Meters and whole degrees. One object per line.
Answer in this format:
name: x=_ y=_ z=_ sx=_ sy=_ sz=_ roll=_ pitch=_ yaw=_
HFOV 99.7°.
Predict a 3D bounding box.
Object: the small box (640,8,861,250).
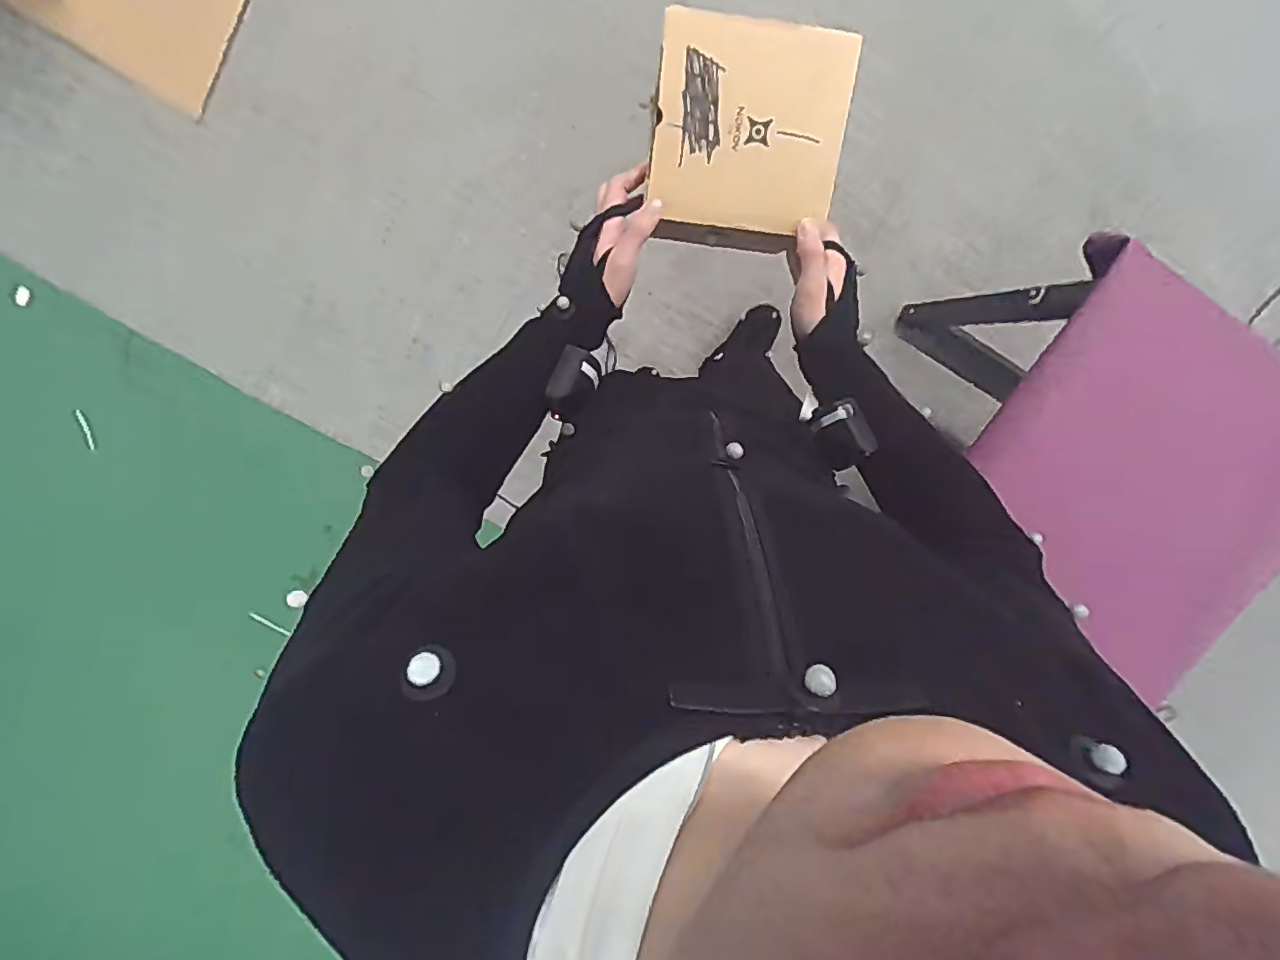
small box: x=0.095 y=-0.340 z=0.562 sx=0.179 sy=0.176 sz=0.168 roll=5 pitch=108 yaw=-4
